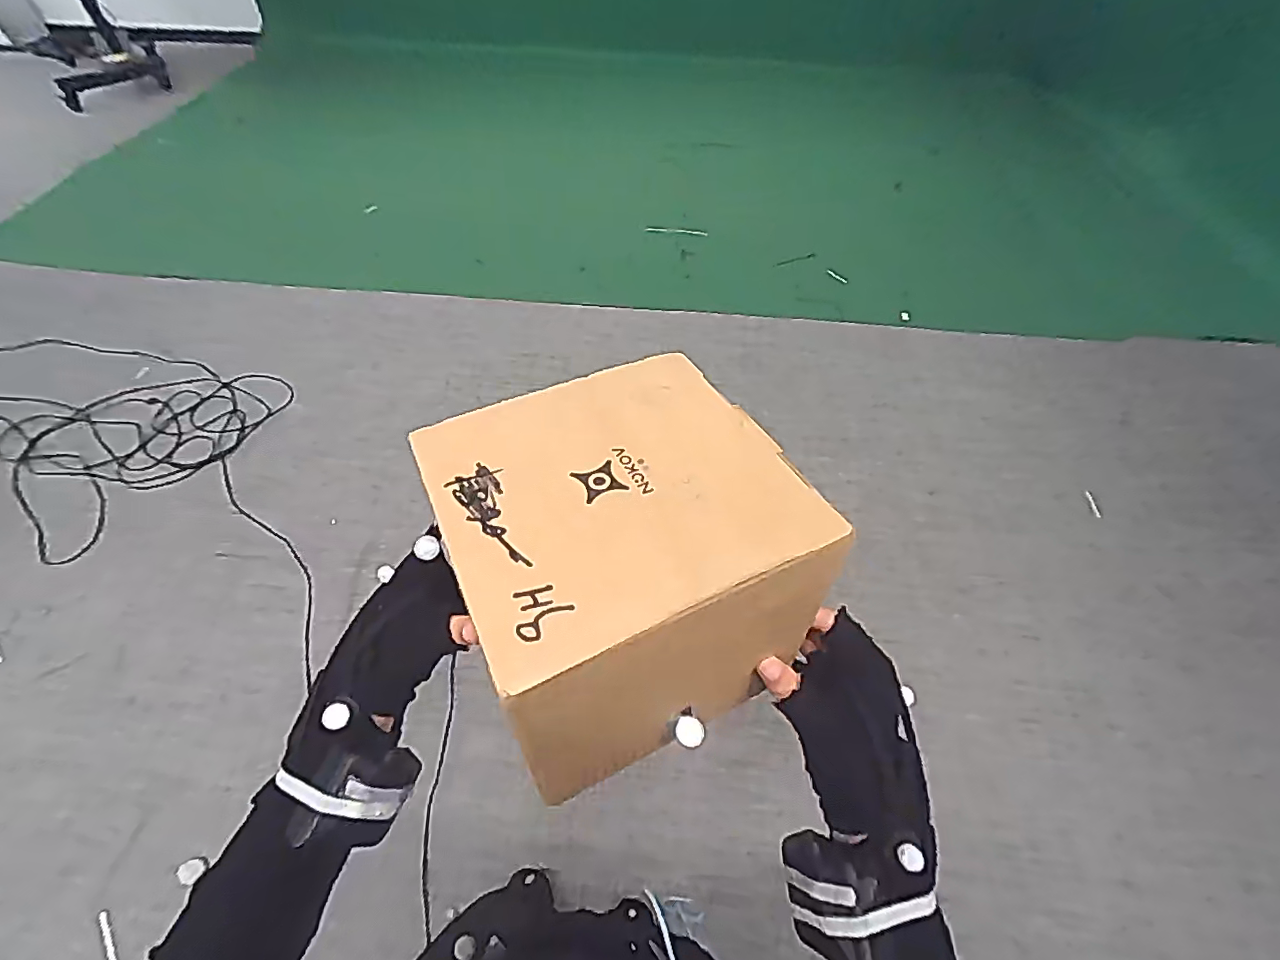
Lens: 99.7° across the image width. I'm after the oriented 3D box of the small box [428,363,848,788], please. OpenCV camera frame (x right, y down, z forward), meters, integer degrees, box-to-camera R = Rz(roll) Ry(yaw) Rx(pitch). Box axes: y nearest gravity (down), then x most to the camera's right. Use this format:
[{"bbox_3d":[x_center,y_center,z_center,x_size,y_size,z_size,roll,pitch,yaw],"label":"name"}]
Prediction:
[{"bbox_3d":[-0.011,0.057,0.343,0.179,0.176,0.168,-20,50,-19],"label":"small box"}]
